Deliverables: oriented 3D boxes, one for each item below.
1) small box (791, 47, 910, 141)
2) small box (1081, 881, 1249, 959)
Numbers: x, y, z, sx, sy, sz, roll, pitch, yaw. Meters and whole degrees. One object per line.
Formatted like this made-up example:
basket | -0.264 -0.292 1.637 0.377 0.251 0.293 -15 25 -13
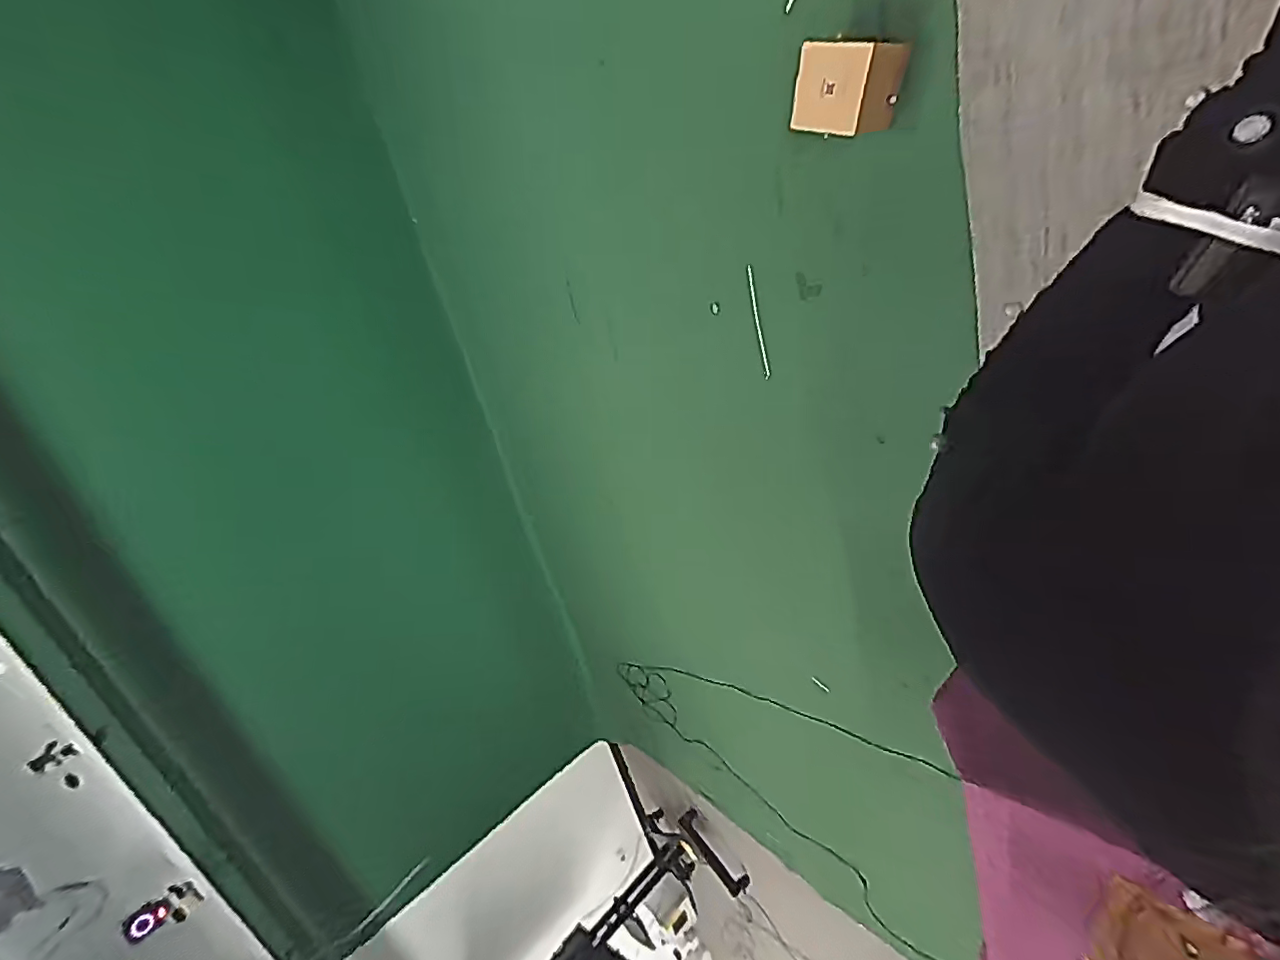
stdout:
small box | 0.487 -0.900 1.261 0.179 0.176 0.168 35 139 34
small box | 0.769 0.762 0.799 0.168 0.176 0.179 12 123 48
